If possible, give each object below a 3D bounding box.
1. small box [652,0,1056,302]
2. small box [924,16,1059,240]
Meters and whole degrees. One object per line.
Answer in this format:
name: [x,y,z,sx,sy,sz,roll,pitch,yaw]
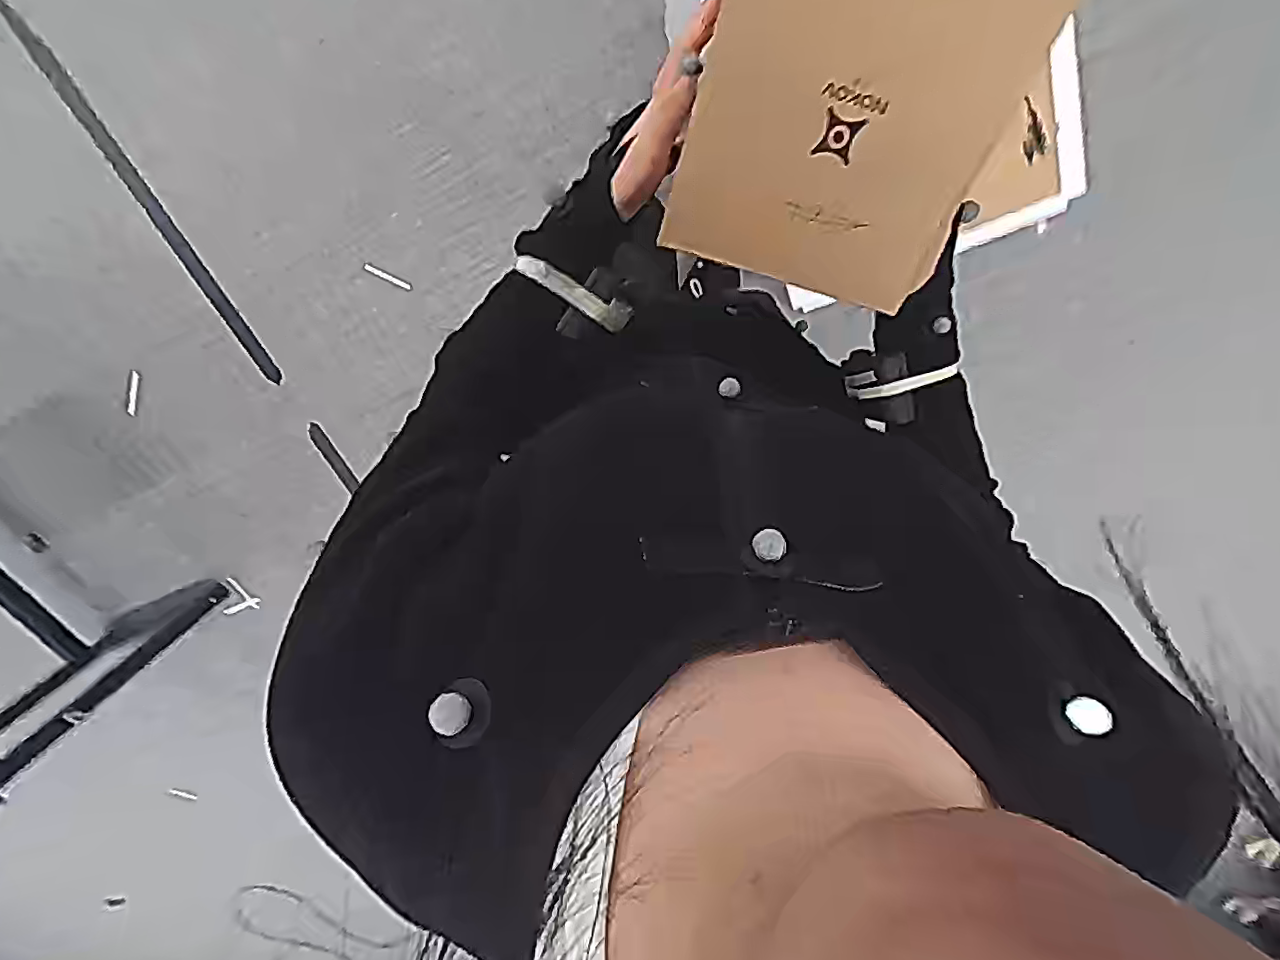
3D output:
small box: [0.112,-0.250,0.356,0.168,0.176,0.179,15,129,-4]
small box: [0.340,-0.382,0.632,0.179,0.176,0.168,-18,112,12]
